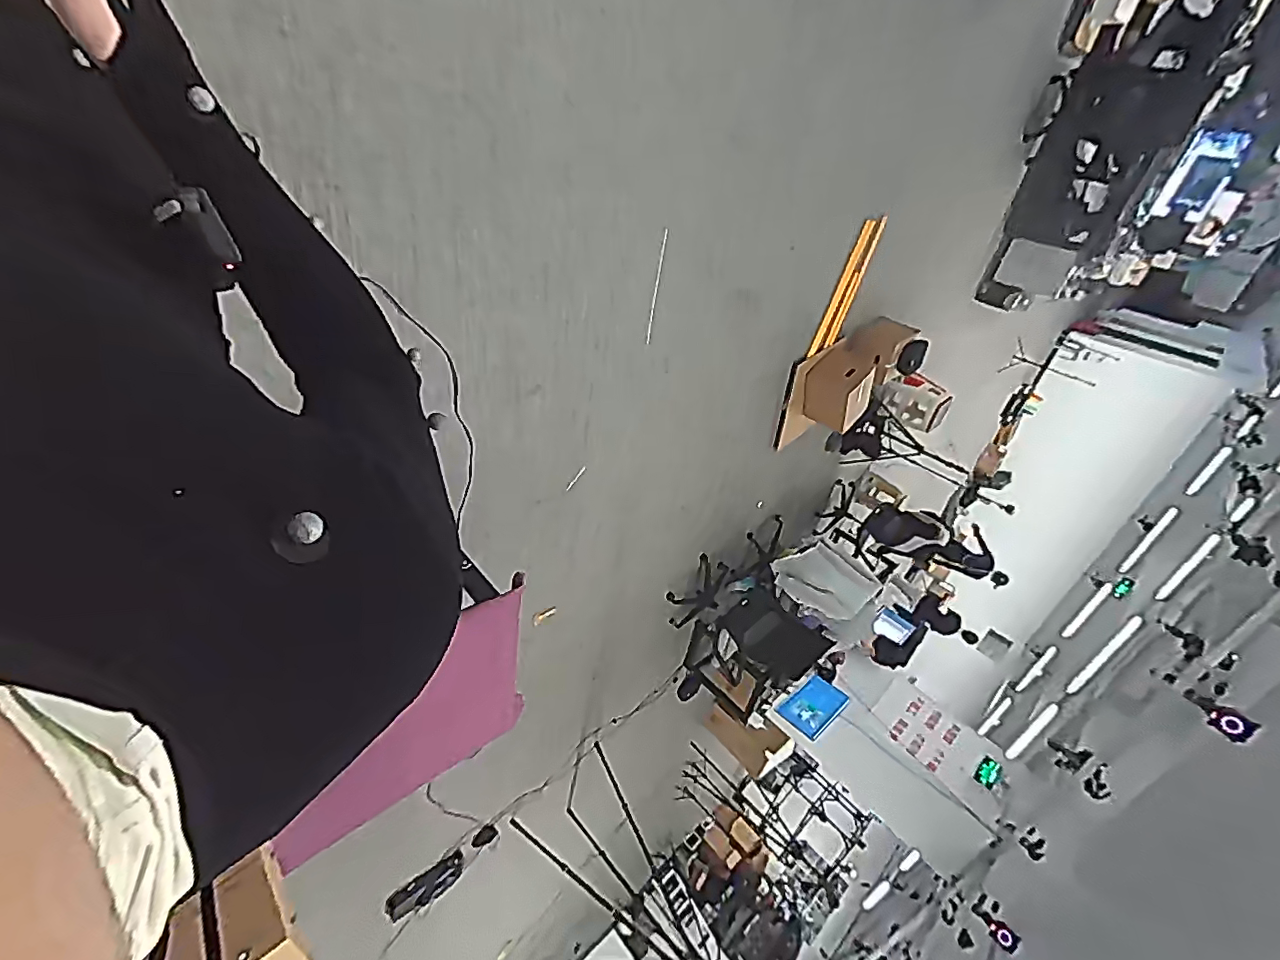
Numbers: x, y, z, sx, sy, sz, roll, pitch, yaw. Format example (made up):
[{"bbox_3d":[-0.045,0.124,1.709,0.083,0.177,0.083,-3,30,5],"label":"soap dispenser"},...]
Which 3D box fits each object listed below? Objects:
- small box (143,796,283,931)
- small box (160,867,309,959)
[{"bbox_3d":[-0.848,0.782,1.082,0.168,0.176,0.179,-25,137,-38],"label":"small box"},{"bbox_3d":[-0.736,0.863,0.992,0.168,0.176,0.179,-26,138,-37],"label":"small box"}]
